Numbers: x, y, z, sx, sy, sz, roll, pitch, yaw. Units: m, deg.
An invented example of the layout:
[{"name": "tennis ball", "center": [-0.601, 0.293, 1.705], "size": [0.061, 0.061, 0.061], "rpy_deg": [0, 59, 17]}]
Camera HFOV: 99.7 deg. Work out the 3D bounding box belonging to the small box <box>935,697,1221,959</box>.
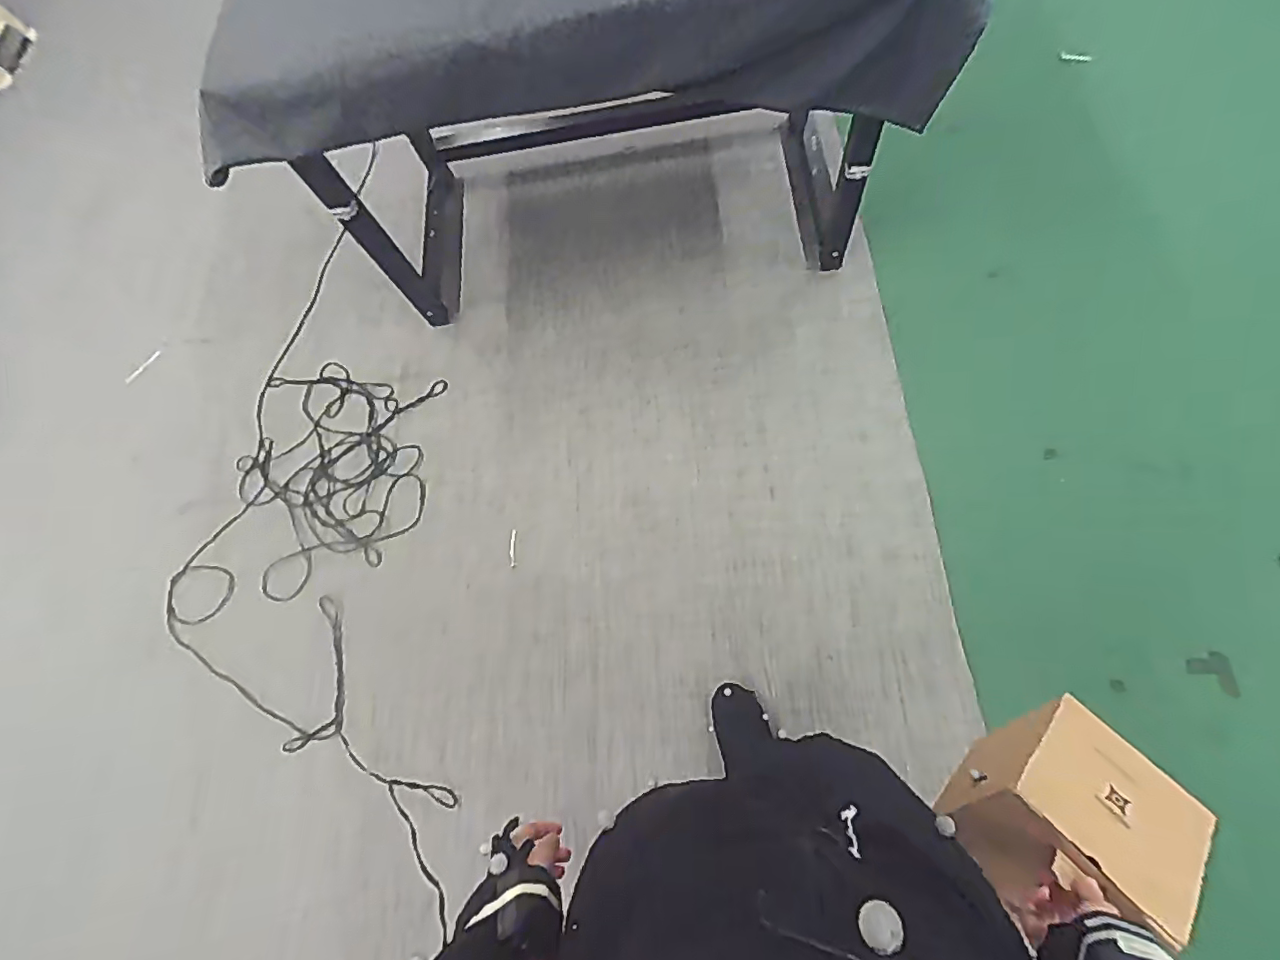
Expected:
[{"name": "small box", "center": [0.471, 0.389, 0.604], "size": [0.179, 0.176, 0.168], "rpy_deg": [-24, 58, -35]}]
